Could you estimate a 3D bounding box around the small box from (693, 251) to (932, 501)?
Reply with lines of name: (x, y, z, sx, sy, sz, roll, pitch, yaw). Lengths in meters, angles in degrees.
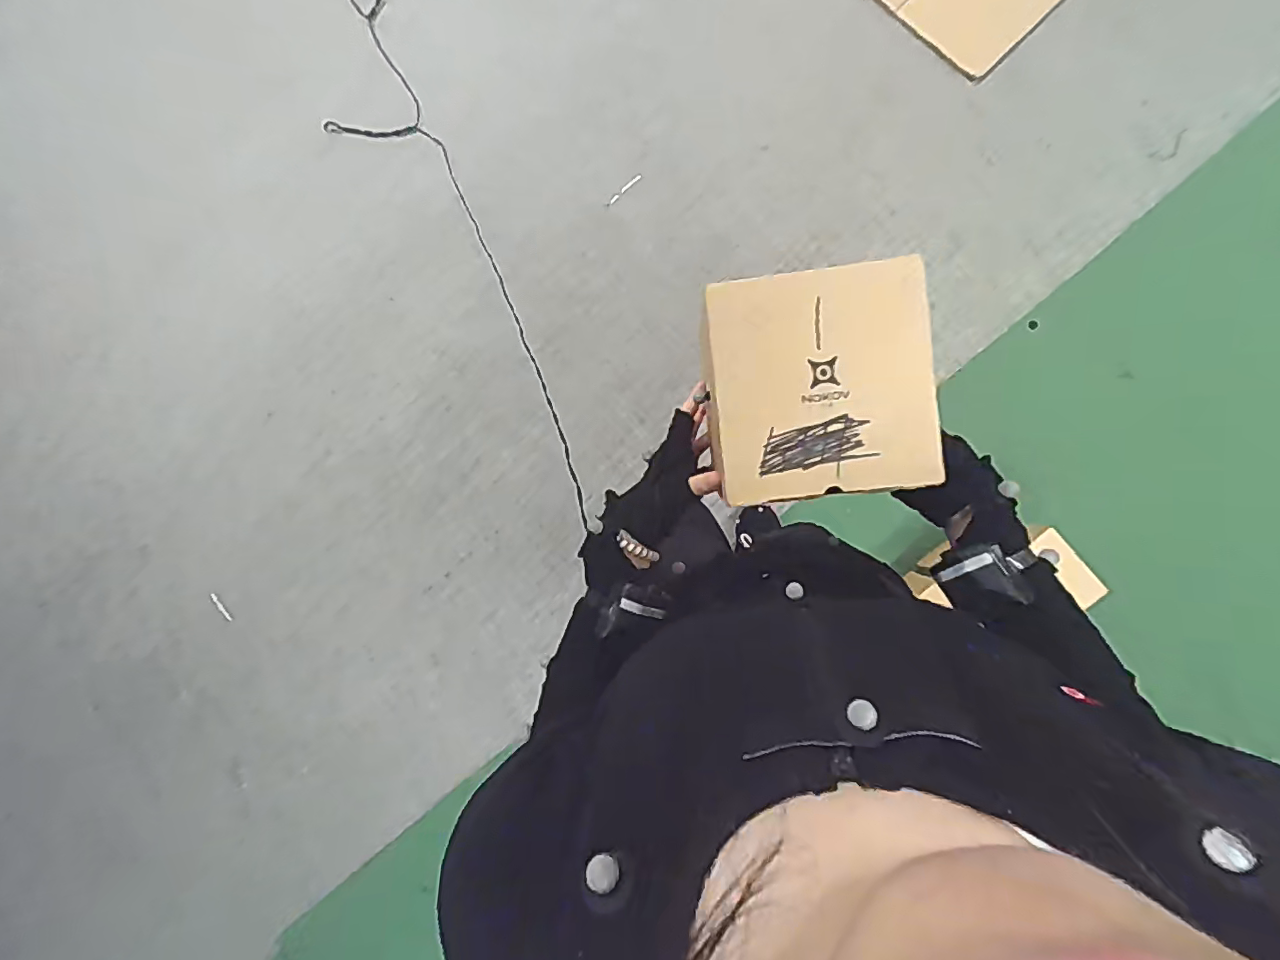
small box: (0.140, -0.083, 0.495, 0.168, 0.176, 0.179, -7, 93, 4)

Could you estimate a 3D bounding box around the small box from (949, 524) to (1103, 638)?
small box: (0.818, 0.207, 1.168, 0.179, 0.176, 0.168, -38, 84, 4)
